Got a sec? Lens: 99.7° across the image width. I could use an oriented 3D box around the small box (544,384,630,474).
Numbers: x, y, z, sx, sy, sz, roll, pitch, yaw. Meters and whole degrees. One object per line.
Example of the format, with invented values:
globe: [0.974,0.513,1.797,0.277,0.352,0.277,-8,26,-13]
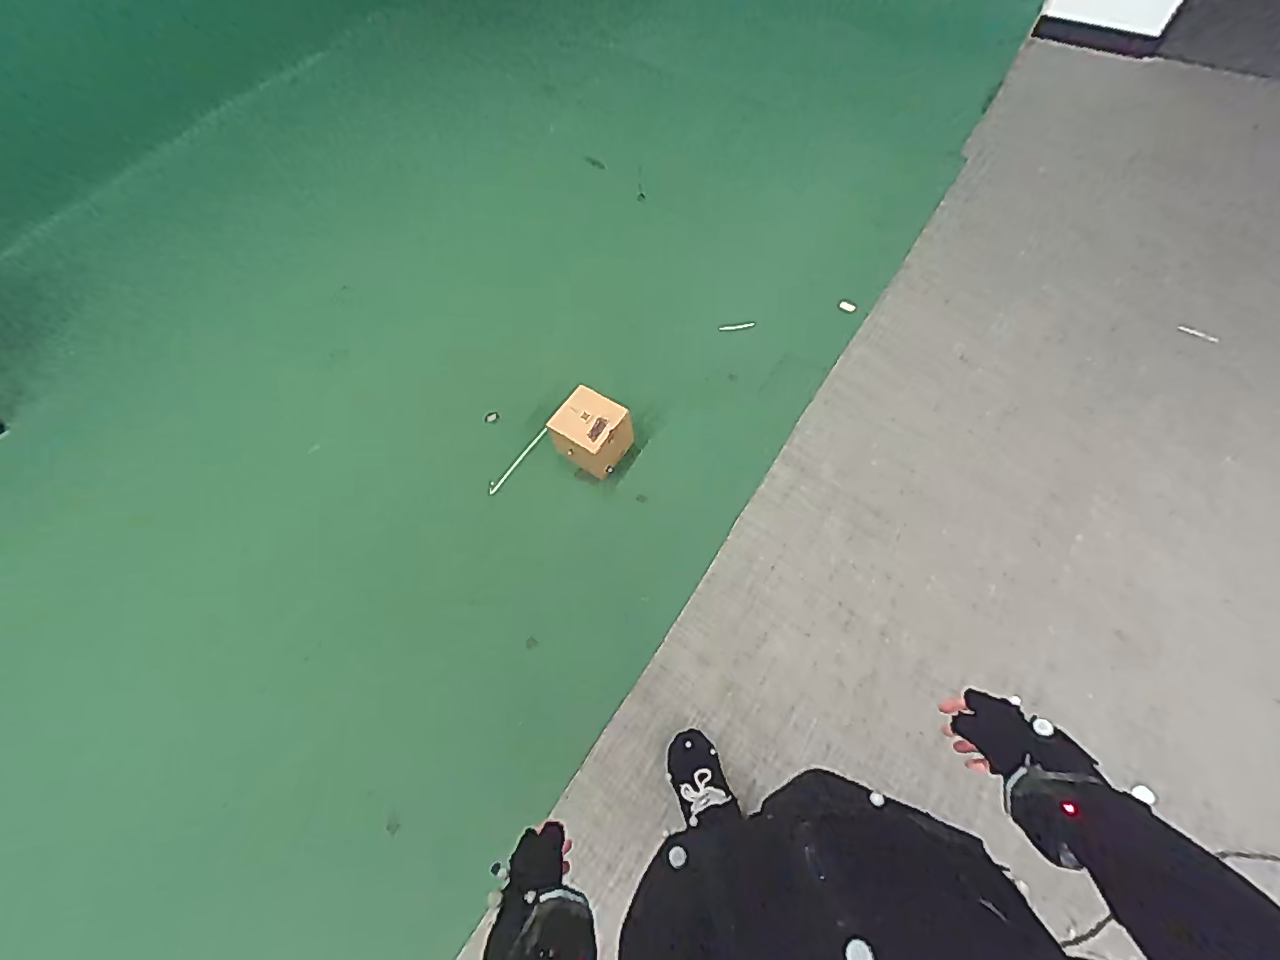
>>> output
small box: [-0.145,-0.140,1.571,0.179,0.176,0.168,31,70,18]
